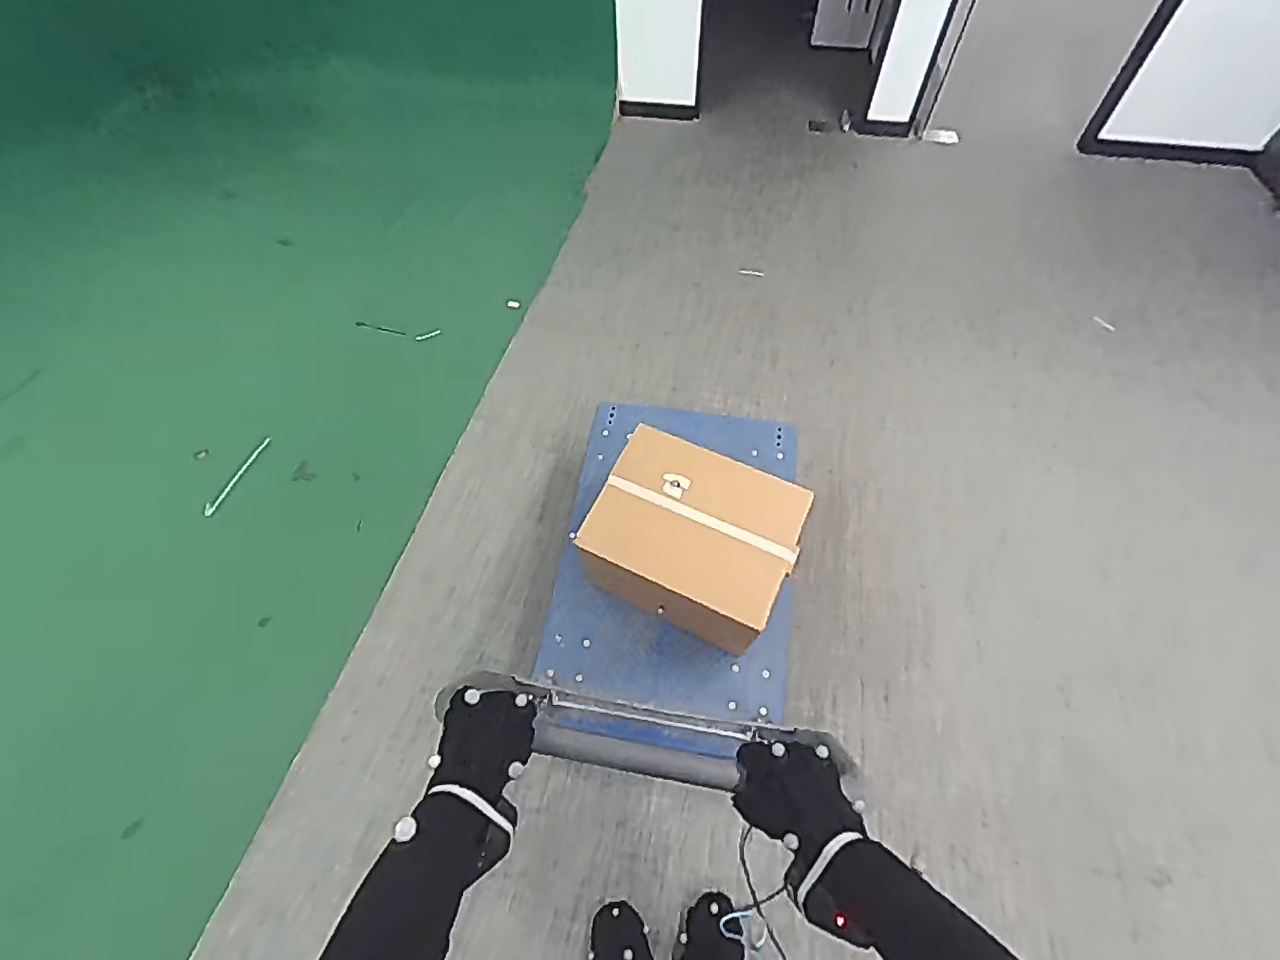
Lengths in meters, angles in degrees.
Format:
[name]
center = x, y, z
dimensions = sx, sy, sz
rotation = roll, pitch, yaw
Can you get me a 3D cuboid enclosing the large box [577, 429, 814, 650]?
[large box]
center = 0.127, 0.144, 1.223
dimensions = 0.408, 0.320, 0.320
rotation = 22, 67, 14
